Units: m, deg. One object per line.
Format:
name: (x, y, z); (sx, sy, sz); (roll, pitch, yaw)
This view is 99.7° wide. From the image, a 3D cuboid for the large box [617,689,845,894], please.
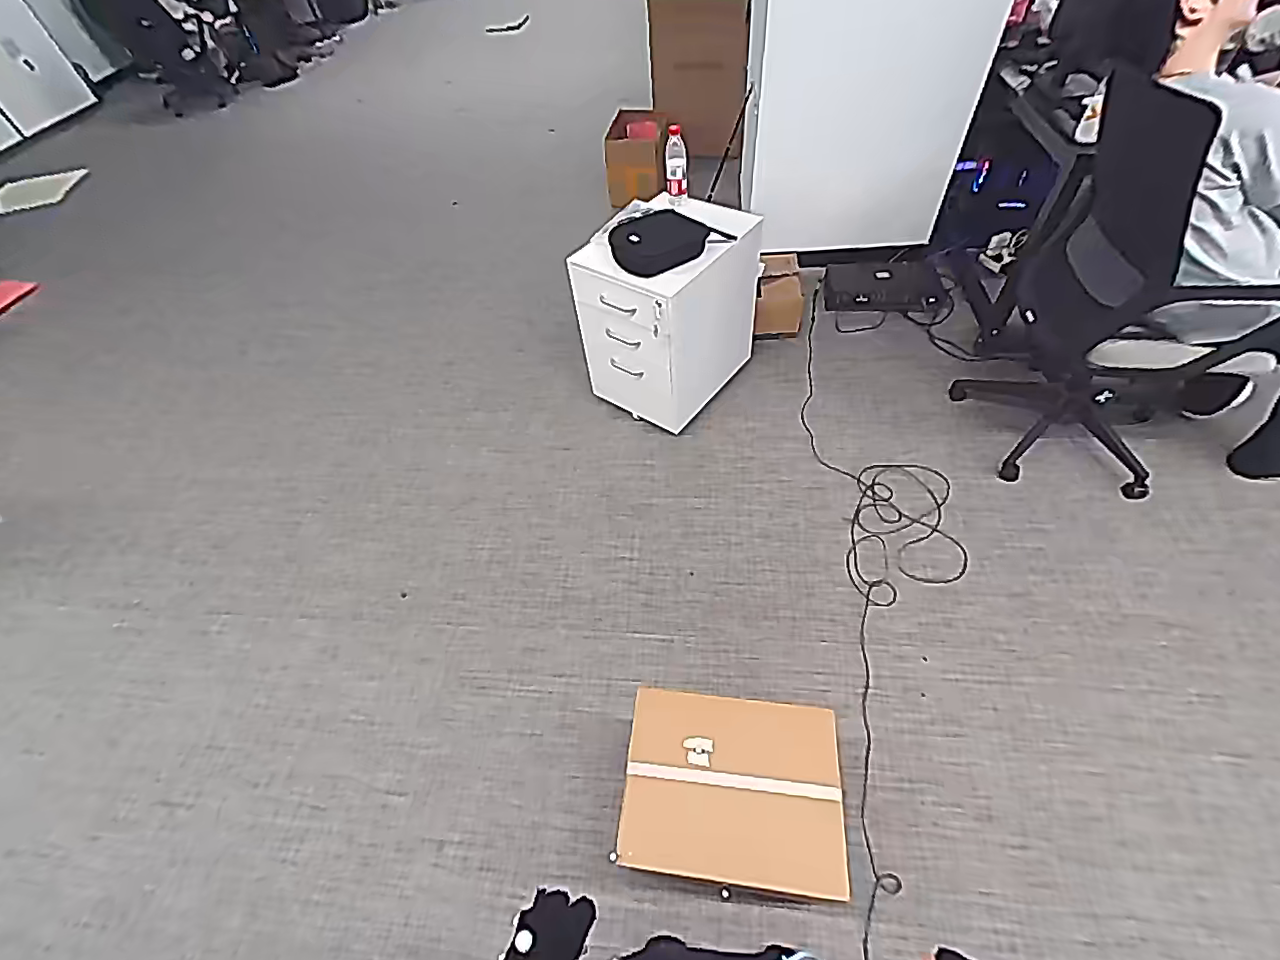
large box: (0.186, 0.663, 1.152); (0.408, 0.320, 0.320); (3, 52, 9)
